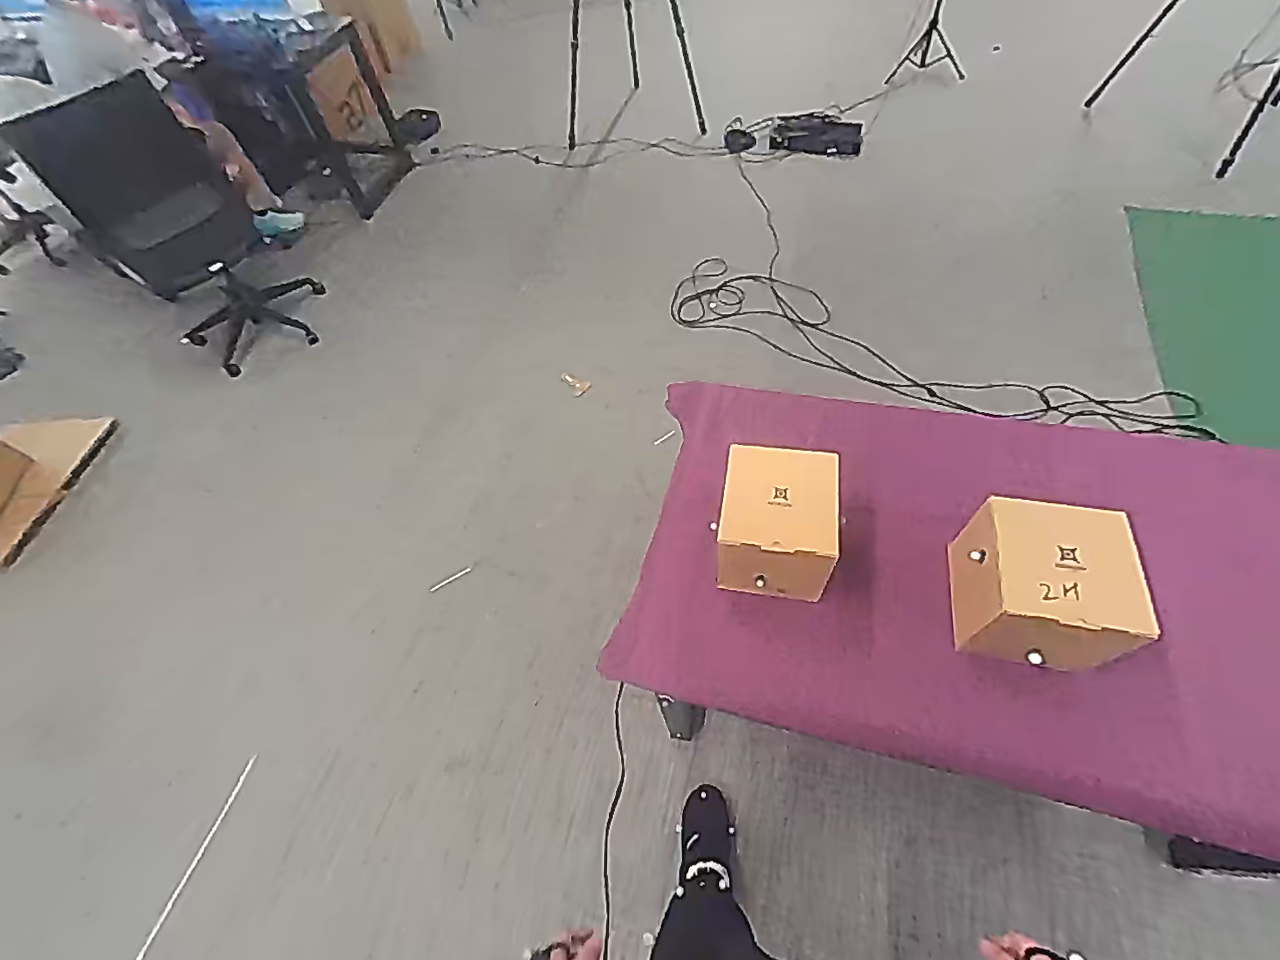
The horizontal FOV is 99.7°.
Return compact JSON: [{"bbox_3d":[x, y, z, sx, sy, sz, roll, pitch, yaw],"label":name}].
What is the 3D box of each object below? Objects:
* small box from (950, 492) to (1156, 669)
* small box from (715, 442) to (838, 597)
[{"bbox_3d":[0.552,0.143,0.756,0.168,0.176,0.179,8,58,13],"label":"small box"},{"bbox_3d":[0.211,0.064,0.855,0.168,0.176,0.179,6,58,11],"label":"small box"}]
